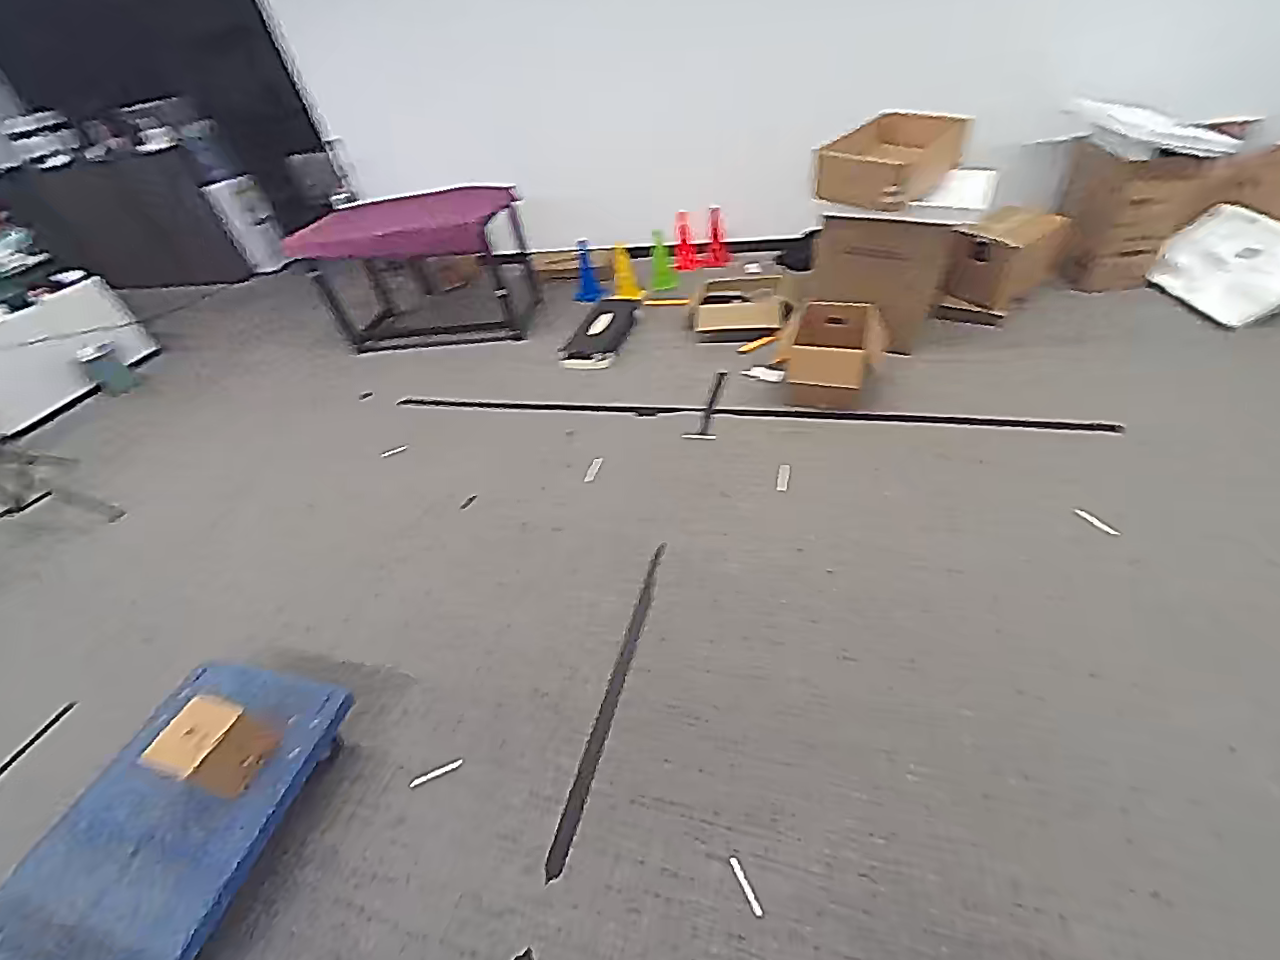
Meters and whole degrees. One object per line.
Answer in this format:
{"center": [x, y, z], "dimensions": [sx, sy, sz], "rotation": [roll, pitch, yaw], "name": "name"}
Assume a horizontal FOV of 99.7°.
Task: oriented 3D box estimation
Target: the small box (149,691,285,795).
{"center": [-1.064, 0.669, 1.373], "dimensions": [0.179, 0.176, 0.168], "rotation": [7, 46, 20], "name": "small box"}
